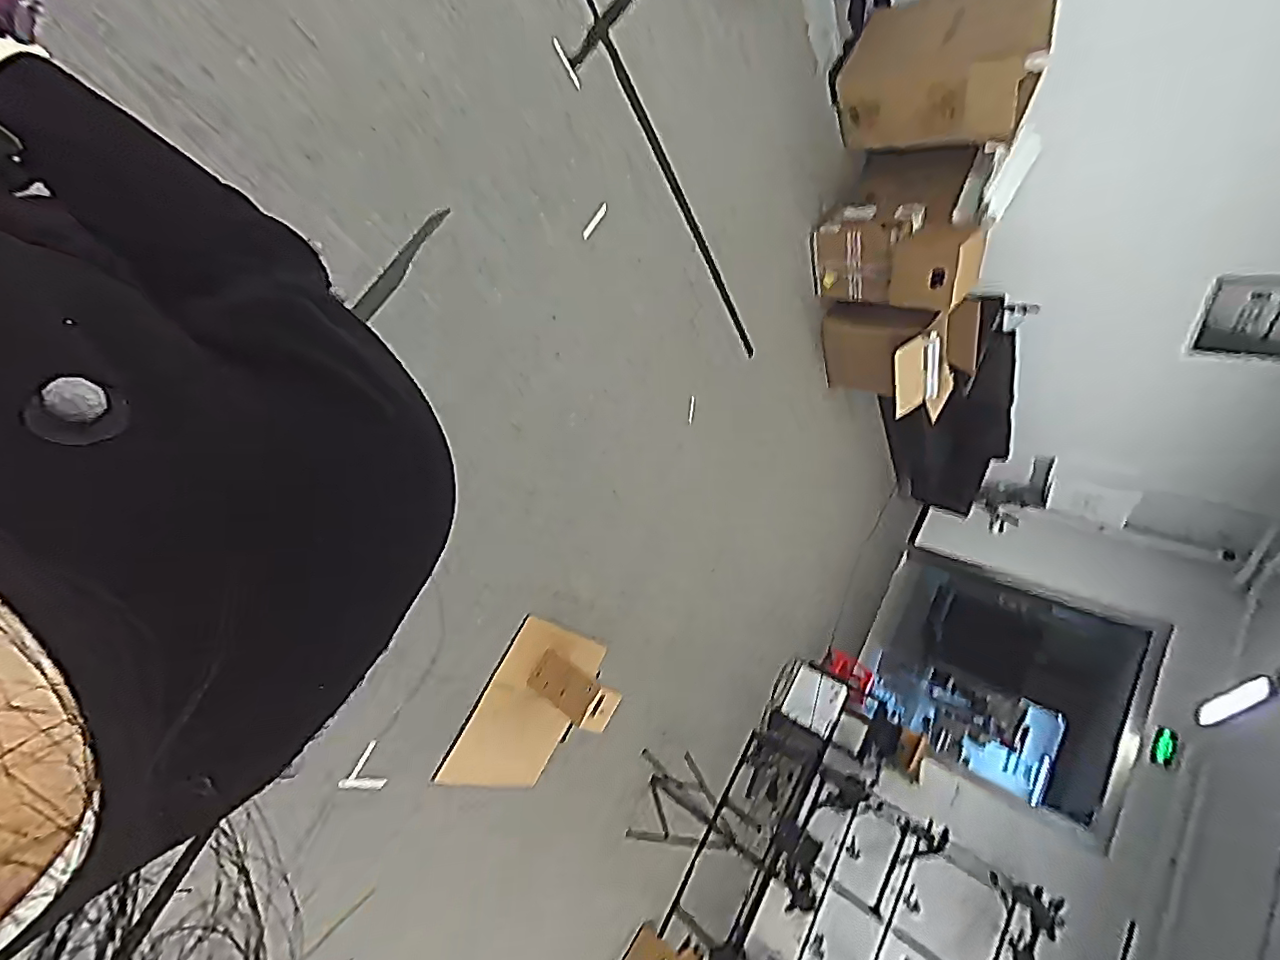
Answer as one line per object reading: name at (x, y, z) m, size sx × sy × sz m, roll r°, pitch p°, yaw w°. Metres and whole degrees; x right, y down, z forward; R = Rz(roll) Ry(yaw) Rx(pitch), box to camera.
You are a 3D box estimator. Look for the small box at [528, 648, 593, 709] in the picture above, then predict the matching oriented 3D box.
small box at (-0.338, 0.834, 2.282) m, size 0.168 × 0.176 × 0.179 m, roll -57°, pitch 141°, yaw -14°
